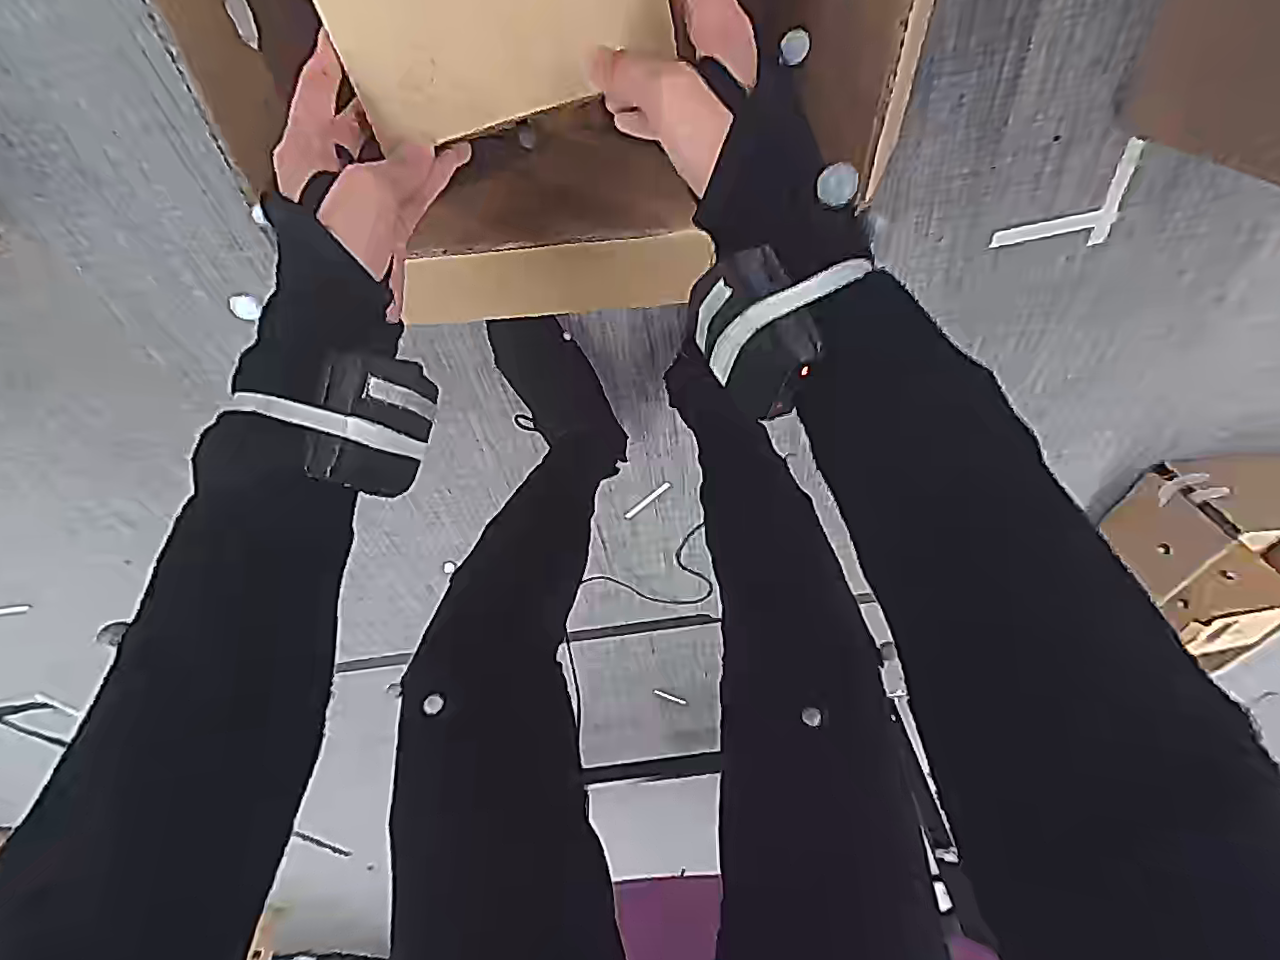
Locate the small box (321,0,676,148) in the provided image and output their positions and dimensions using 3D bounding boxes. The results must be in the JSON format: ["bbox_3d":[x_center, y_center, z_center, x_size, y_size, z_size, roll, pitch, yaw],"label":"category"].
[{"bbox_3d":[-0.082,-0.317,0.322,0.179,0.176,0.168,-12,125,8],"label":"small box"}]
